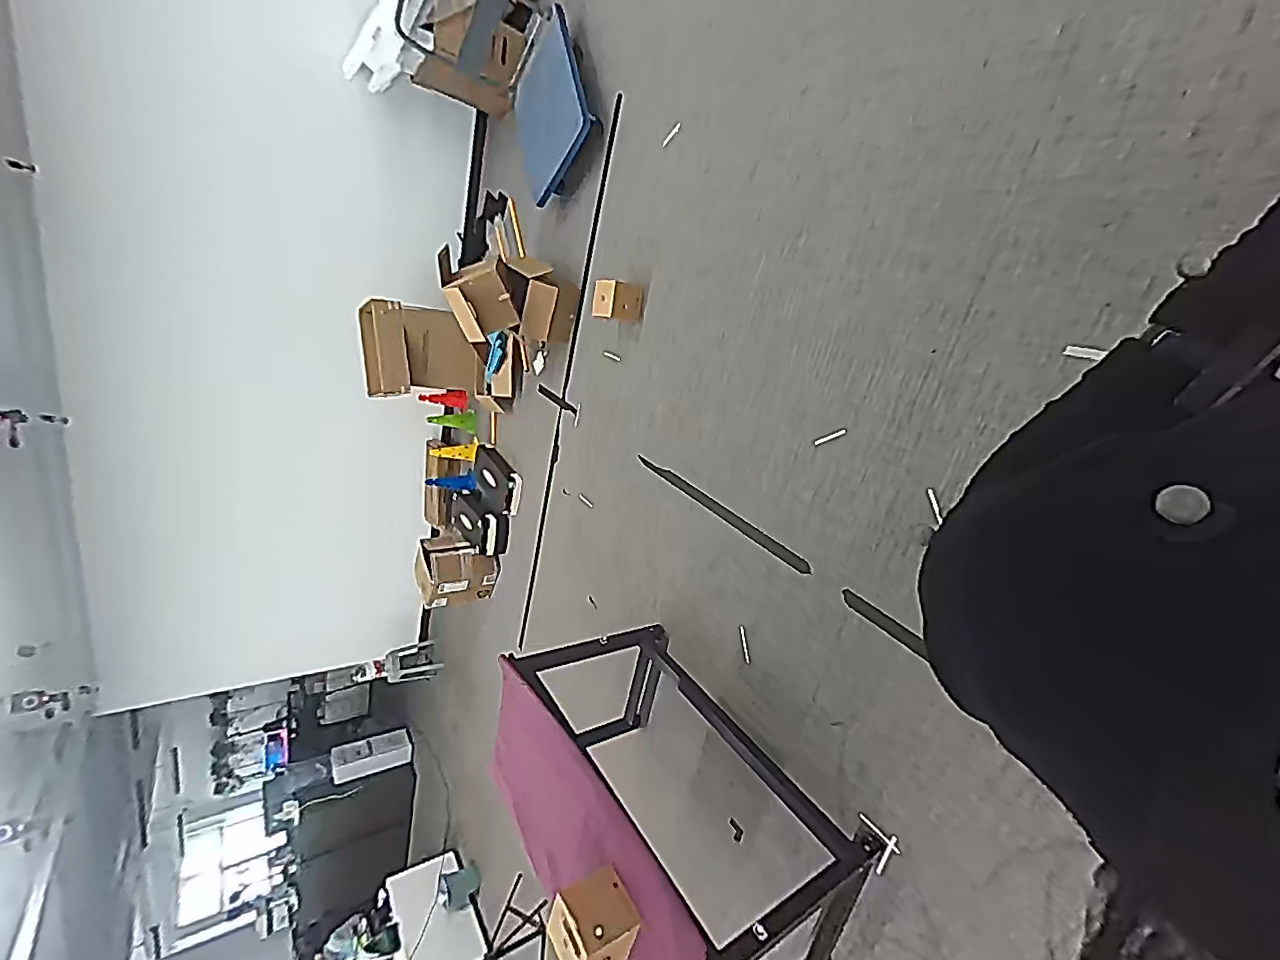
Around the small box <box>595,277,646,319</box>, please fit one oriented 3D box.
[{"bbox_3d":[-0.092,-0.868,2.576,0.179,0.176,0.168,26,112,51],"label":"small box"}]
